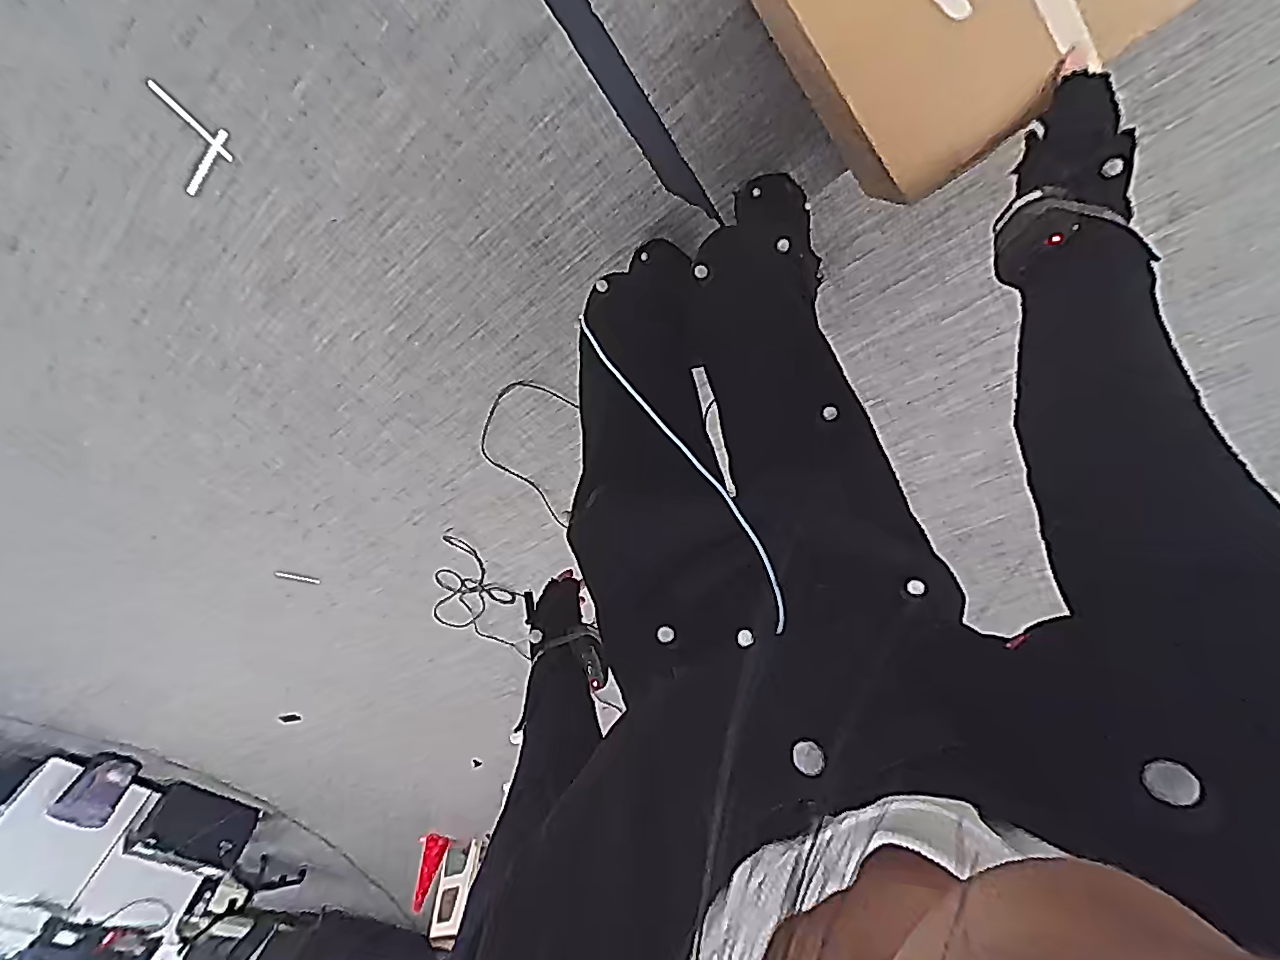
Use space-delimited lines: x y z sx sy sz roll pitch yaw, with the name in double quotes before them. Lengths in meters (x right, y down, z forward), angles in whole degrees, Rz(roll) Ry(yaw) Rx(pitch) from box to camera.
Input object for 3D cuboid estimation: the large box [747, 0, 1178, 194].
"large box" 0.289 -0.568 0.546 0.320 0.320 0.408 -33 105 29
